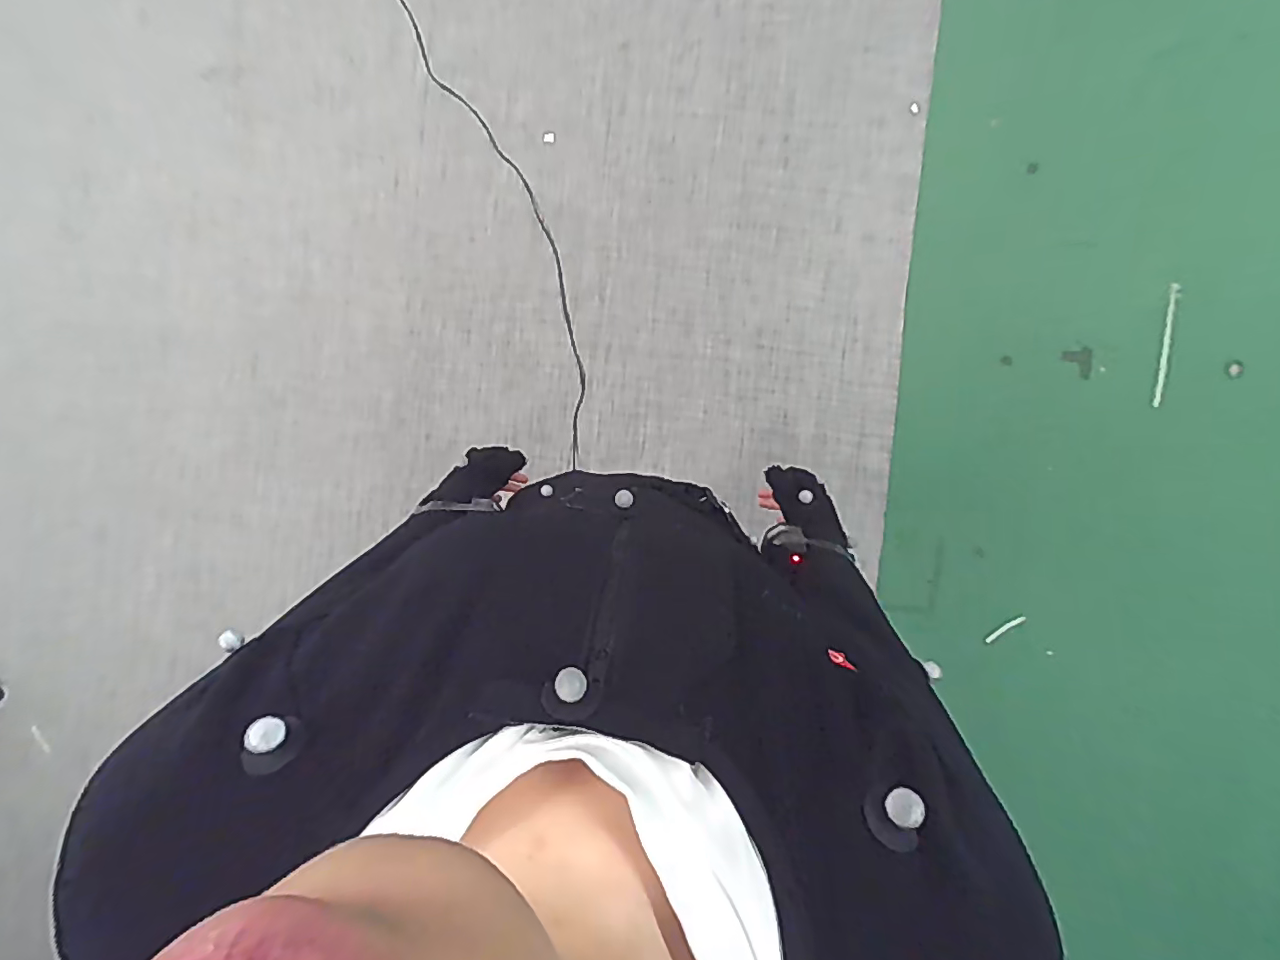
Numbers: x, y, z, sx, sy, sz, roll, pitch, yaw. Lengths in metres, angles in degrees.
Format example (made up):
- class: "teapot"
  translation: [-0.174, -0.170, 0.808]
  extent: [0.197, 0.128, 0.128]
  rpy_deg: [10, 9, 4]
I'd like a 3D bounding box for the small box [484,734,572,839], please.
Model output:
- class: "small box"
  translation: [-0.288, 0.792, 1.416]
  extent: [0.179, 0.176, 0.168]
  rpy_deg: [8, 92, 2]
